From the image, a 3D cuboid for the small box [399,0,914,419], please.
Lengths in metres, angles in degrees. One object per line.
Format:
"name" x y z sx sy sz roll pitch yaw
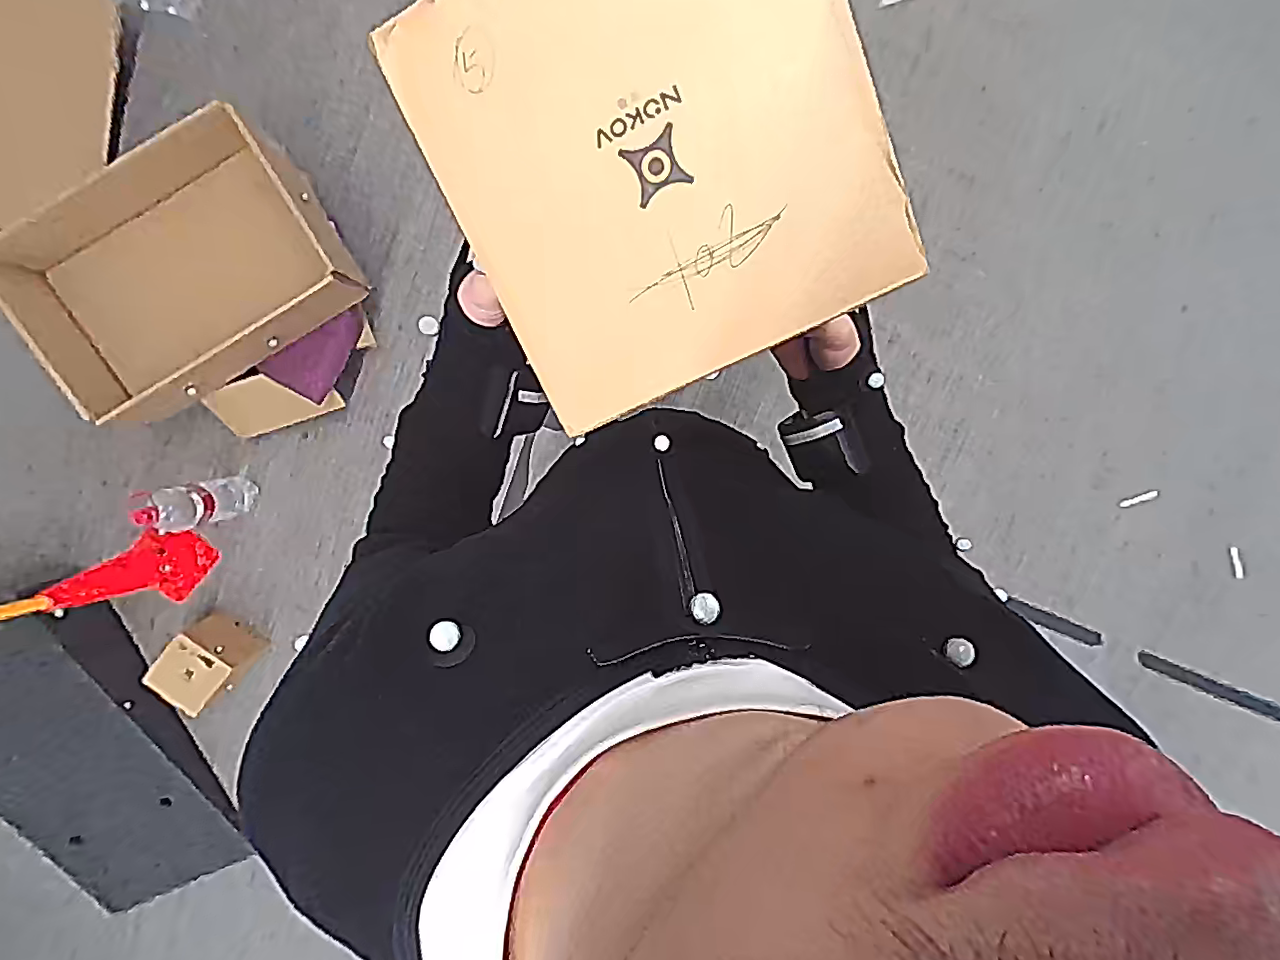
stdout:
"small box" 0.015 -0.156 0.299 0.168 0.176 0.179 -22 105 12
